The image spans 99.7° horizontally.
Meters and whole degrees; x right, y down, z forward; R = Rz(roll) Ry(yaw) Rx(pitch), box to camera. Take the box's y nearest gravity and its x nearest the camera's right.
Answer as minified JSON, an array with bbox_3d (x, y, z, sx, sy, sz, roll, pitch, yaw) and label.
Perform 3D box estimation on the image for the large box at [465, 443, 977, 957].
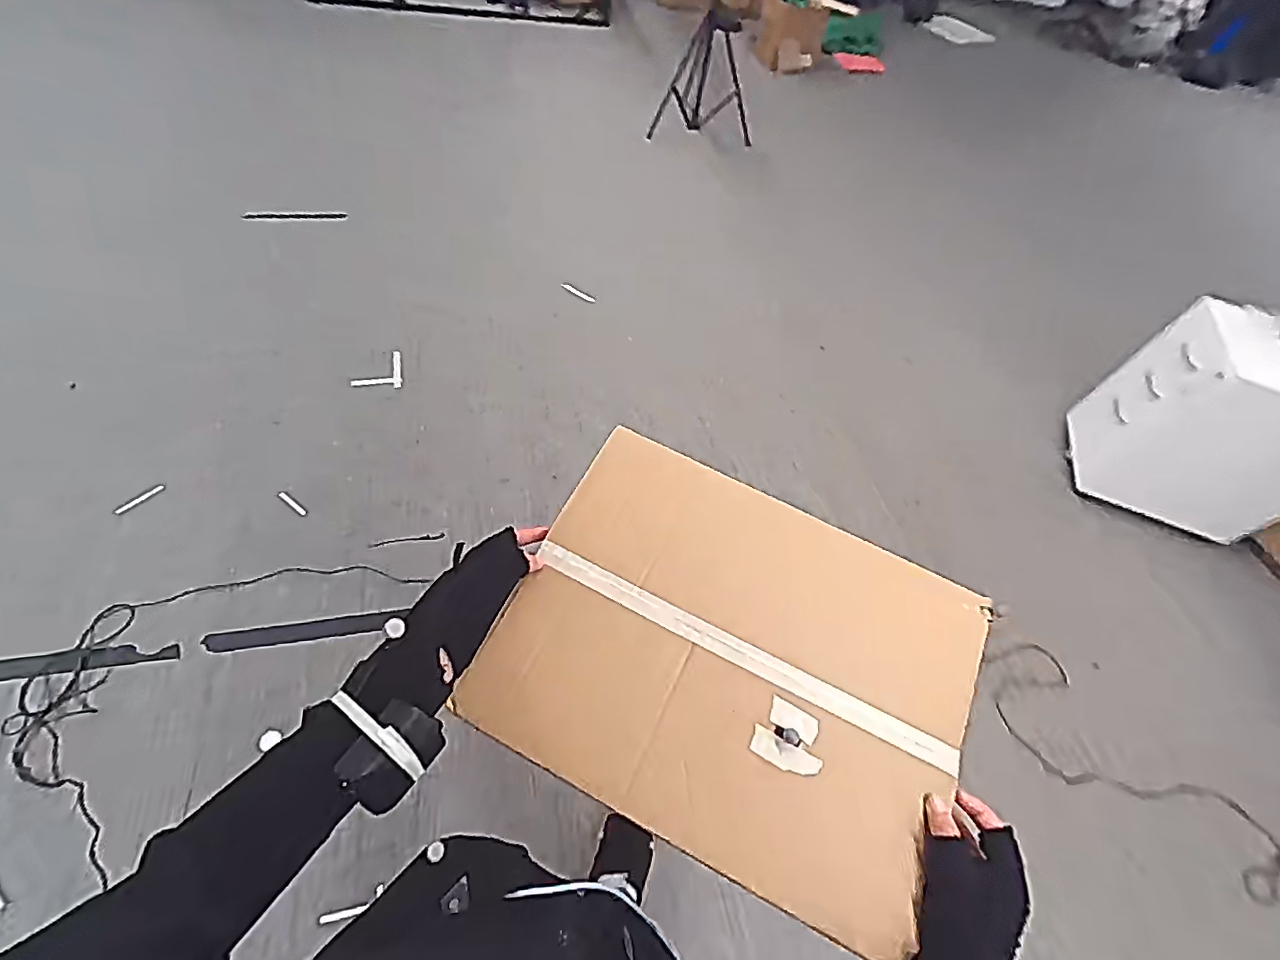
[{"bbox_3d":[0.079,0.224,0.629,0.408,0.320,0.320,26,66,8],"label":"large box"}]
